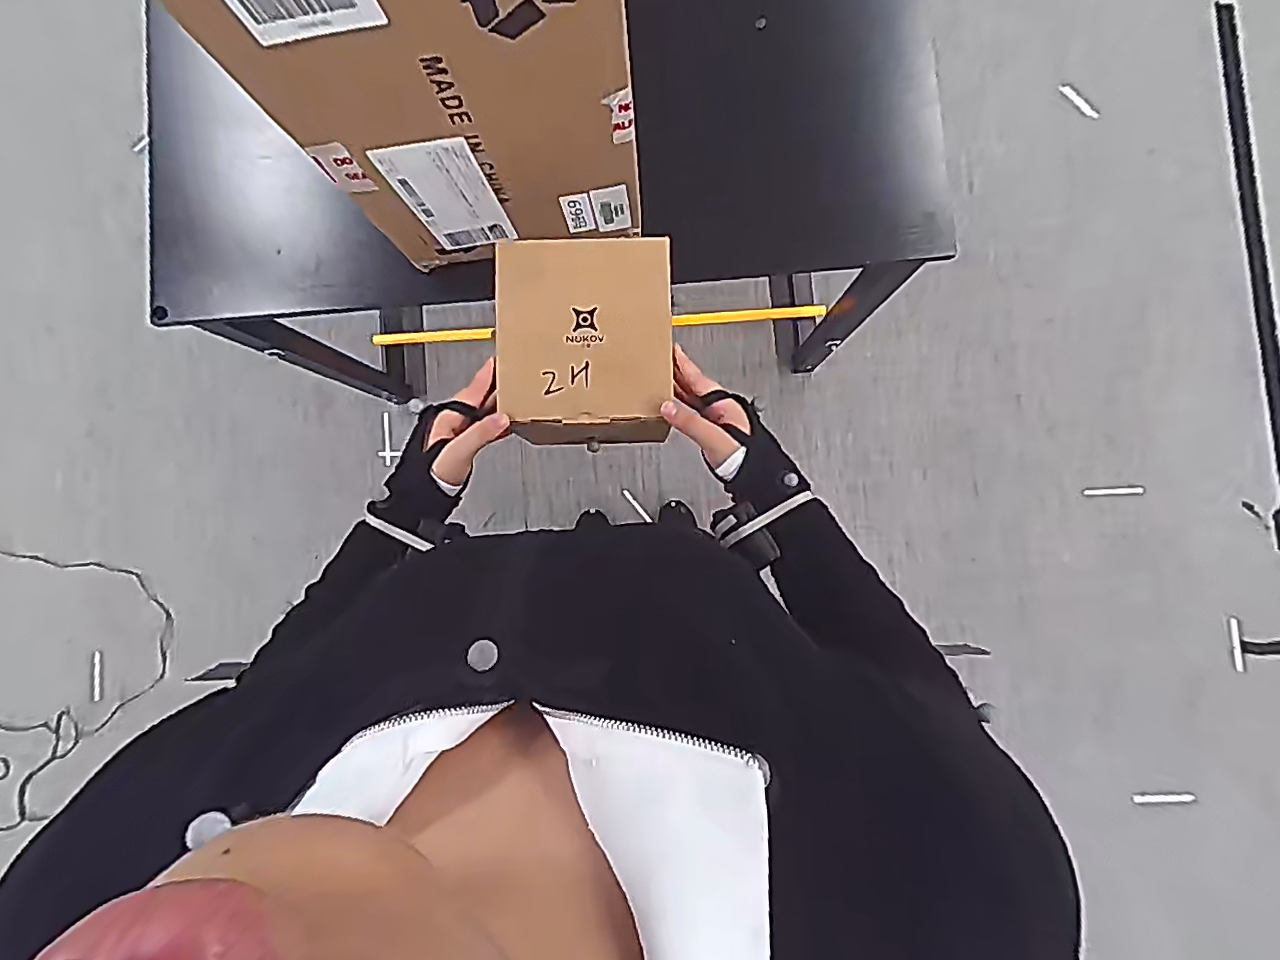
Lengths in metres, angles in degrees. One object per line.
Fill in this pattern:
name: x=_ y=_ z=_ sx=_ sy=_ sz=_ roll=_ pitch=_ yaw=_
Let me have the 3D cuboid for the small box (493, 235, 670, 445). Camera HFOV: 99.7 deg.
small box: x=-0.055 y=-0.138 z=0.583 sx=0.168 sy=0.176 sz=0.179 roll=-1 pitch=85 yaw=0
